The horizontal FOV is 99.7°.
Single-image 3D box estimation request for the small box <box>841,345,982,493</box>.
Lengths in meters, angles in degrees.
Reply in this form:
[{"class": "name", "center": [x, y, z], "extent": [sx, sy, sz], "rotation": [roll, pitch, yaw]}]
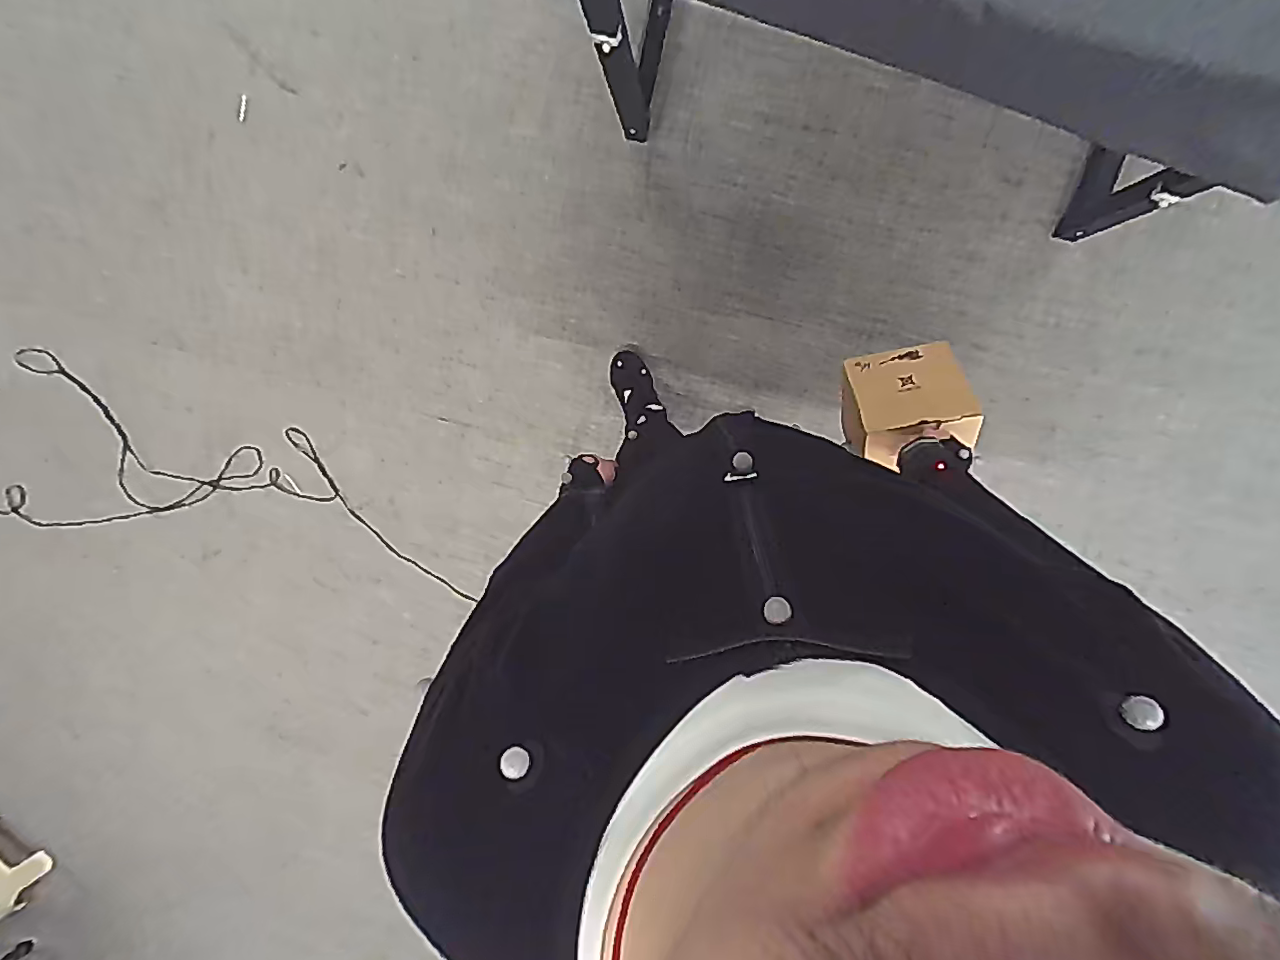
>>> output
[{"class": "small box", "center": [0.449, -0.093, 0.919], "extent": [0.168, 0.179, 0.176], "rotation": [-12, 139, 13]}]
